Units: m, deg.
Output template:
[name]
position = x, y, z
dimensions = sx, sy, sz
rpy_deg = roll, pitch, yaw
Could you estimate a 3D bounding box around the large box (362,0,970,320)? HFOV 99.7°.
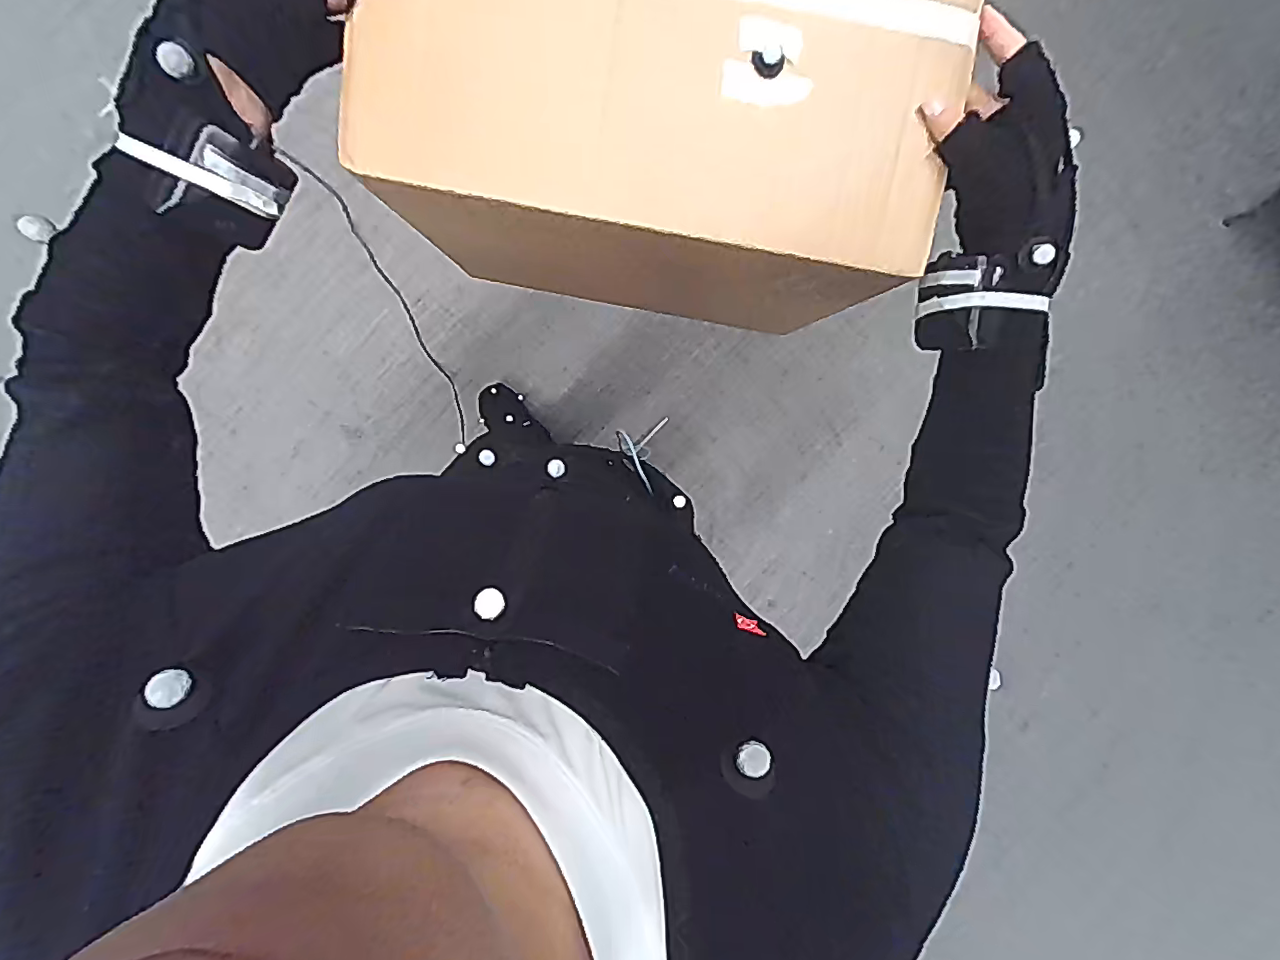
[large box]
position = 0.019, -0.355, 0.506
dimensions = 0.408, 0.320, 0.320
rpy_deg = 9, 98, -4
